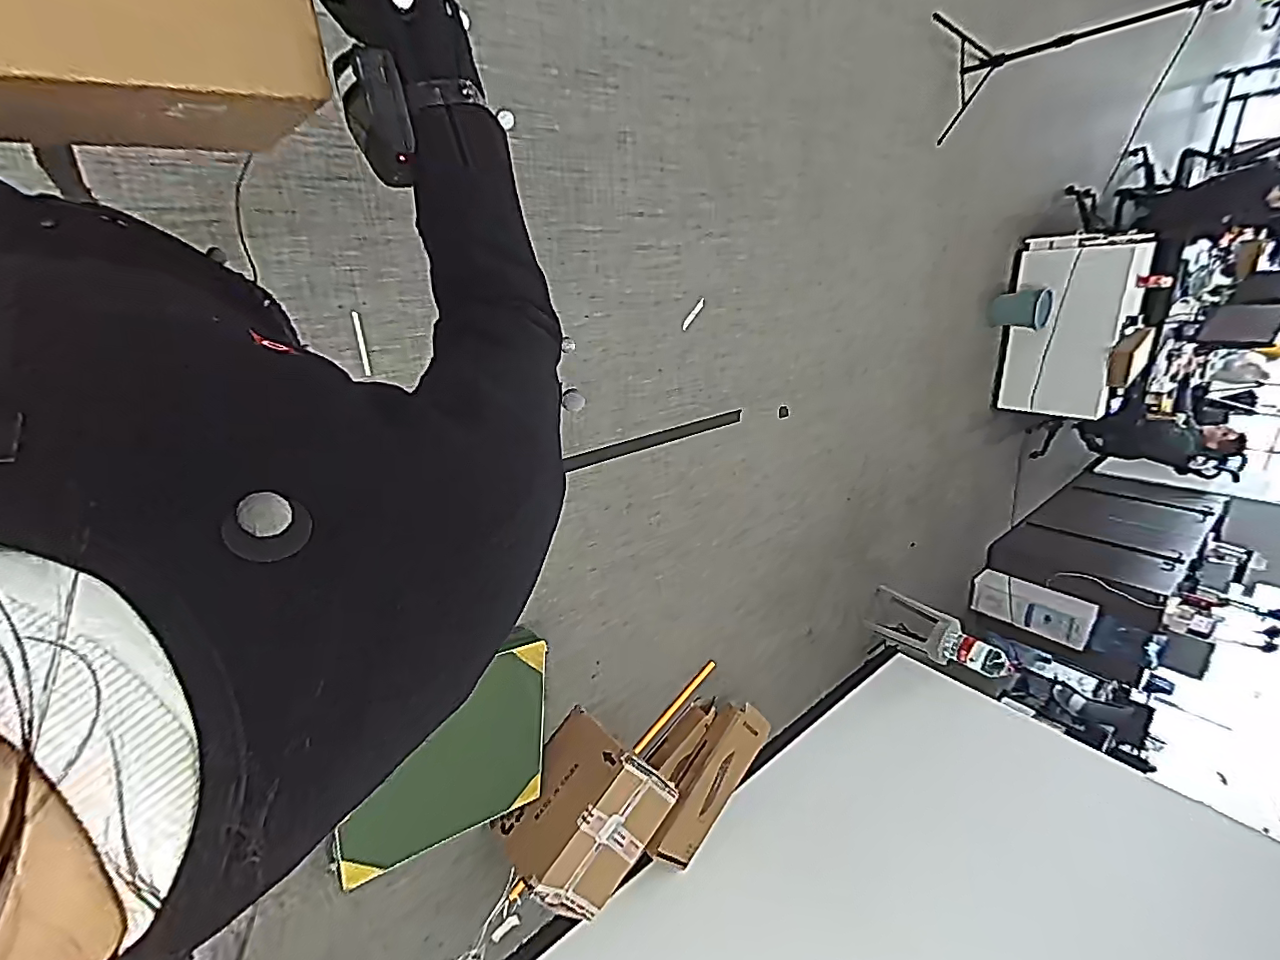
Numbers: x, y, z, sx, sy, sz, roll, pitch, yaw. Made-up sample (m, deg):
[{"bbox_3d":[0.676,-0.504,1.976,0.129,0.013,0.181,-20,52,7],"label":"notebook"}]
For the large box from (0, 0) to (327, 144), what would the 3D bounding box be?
[{"bbox_3d":[-0.459,-0.374,0.284,0.408,0.320,0.320,-22,124,-34],"label":"large box"}]
